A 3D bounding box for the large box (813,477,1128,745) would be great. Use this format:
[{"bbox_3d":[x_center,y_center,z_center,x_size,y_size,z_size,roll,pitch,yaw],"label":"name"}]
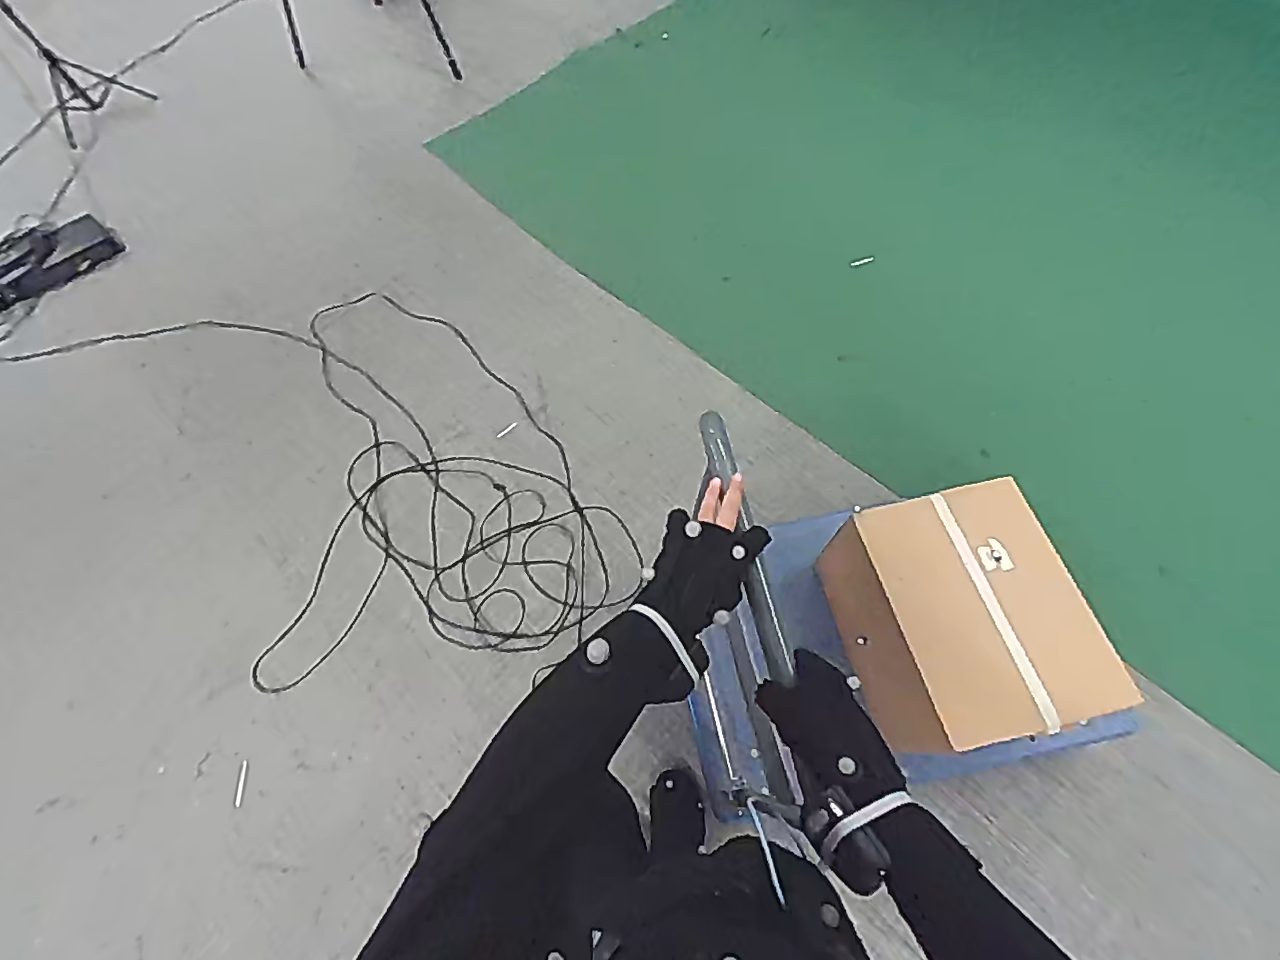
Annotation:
[{"bbox_3d":[0.583,0.264,1.056,0.320,0.320,0.408,-12,63,-3],"label":"large box"}]
